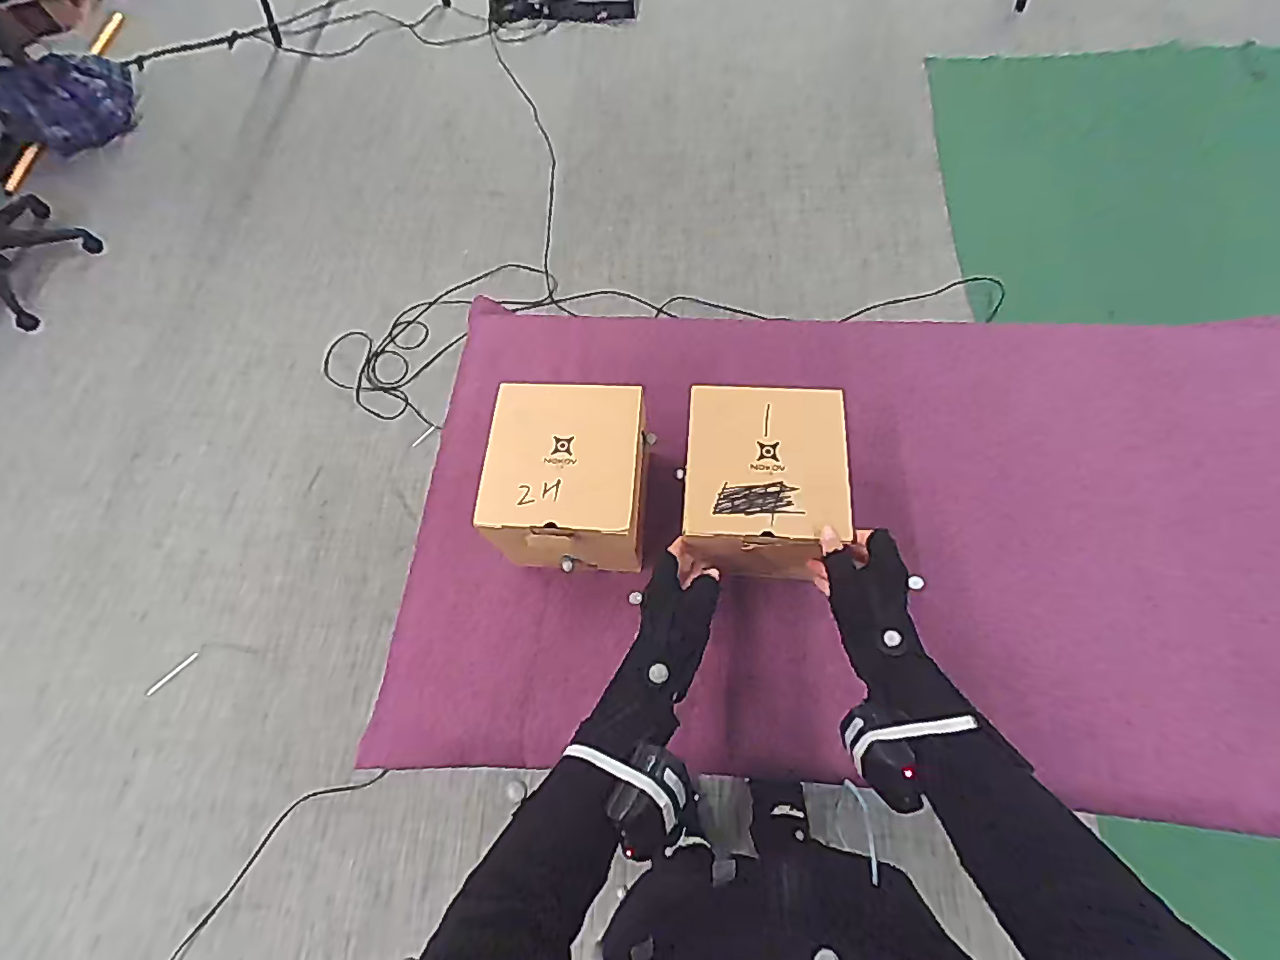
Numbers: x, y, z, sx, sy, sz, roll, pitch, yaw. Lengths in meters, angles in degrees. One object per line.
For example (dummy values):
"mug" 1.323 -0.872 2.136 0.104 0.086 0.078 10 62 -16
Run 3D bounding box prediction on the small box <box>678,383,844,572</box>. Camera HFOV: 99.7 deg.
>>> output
"small box" 0.134 0.005 0.640 0.168 0.176 0.179 3 67 6

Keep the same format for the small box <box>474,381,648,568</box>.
"small box" -0.080 -0.001 0.660 0.168 0.176 0.179 2 68 6
